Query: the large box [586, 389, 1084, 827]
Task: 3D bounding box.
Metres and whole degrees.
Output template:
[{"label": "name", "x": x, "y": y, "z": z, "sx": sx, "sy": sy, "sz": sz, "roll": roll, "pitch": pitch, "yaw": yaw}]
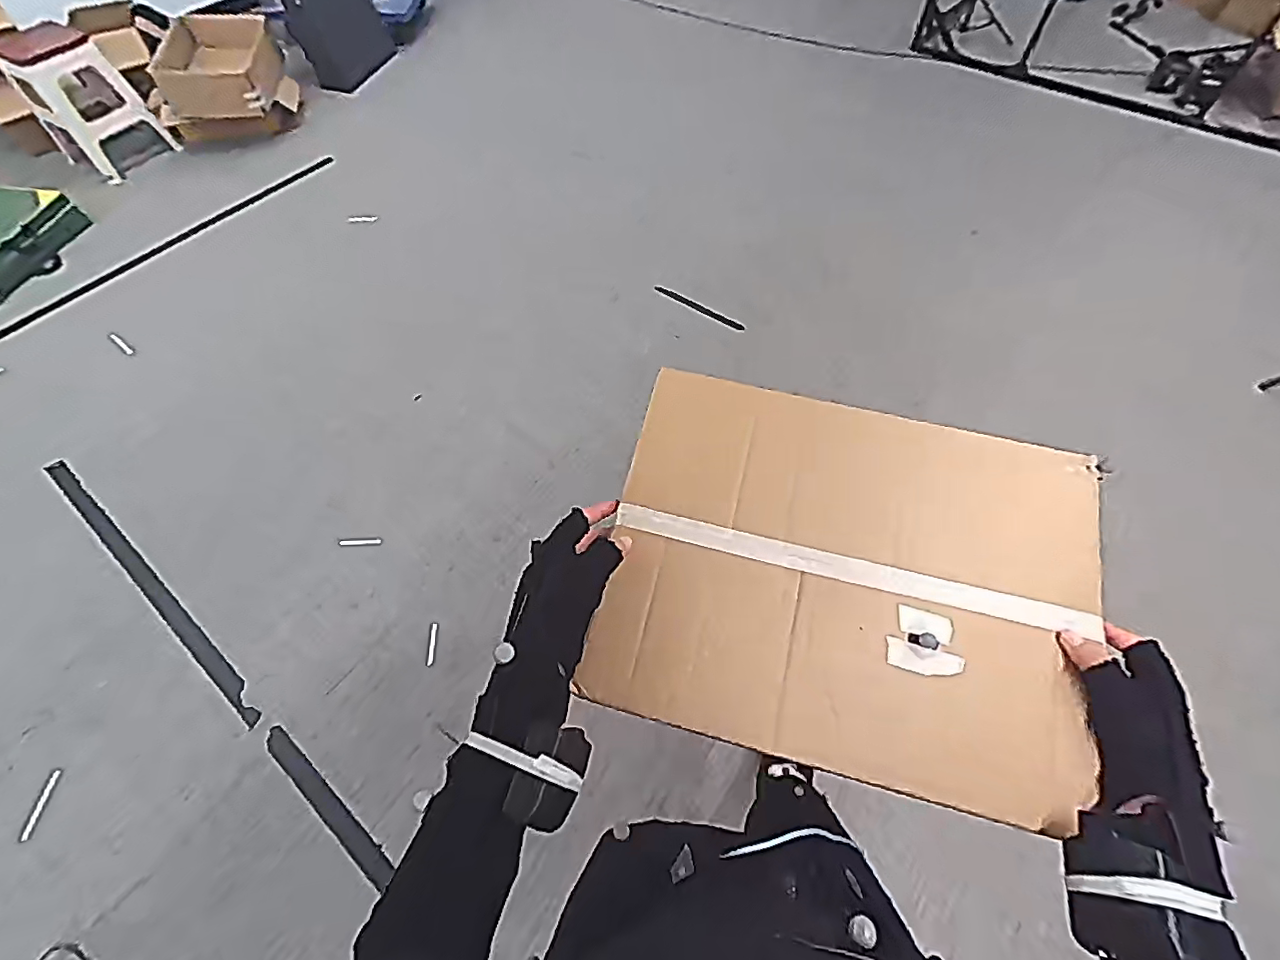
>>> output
[{"label": "large box", "x": 0.184, "y": 0.137, "z": 0.620, "sx": 0.408, "sy": 0.320, "sz": 0.320, "roll": 13, "pitch": 71, "yaw": 7}]
